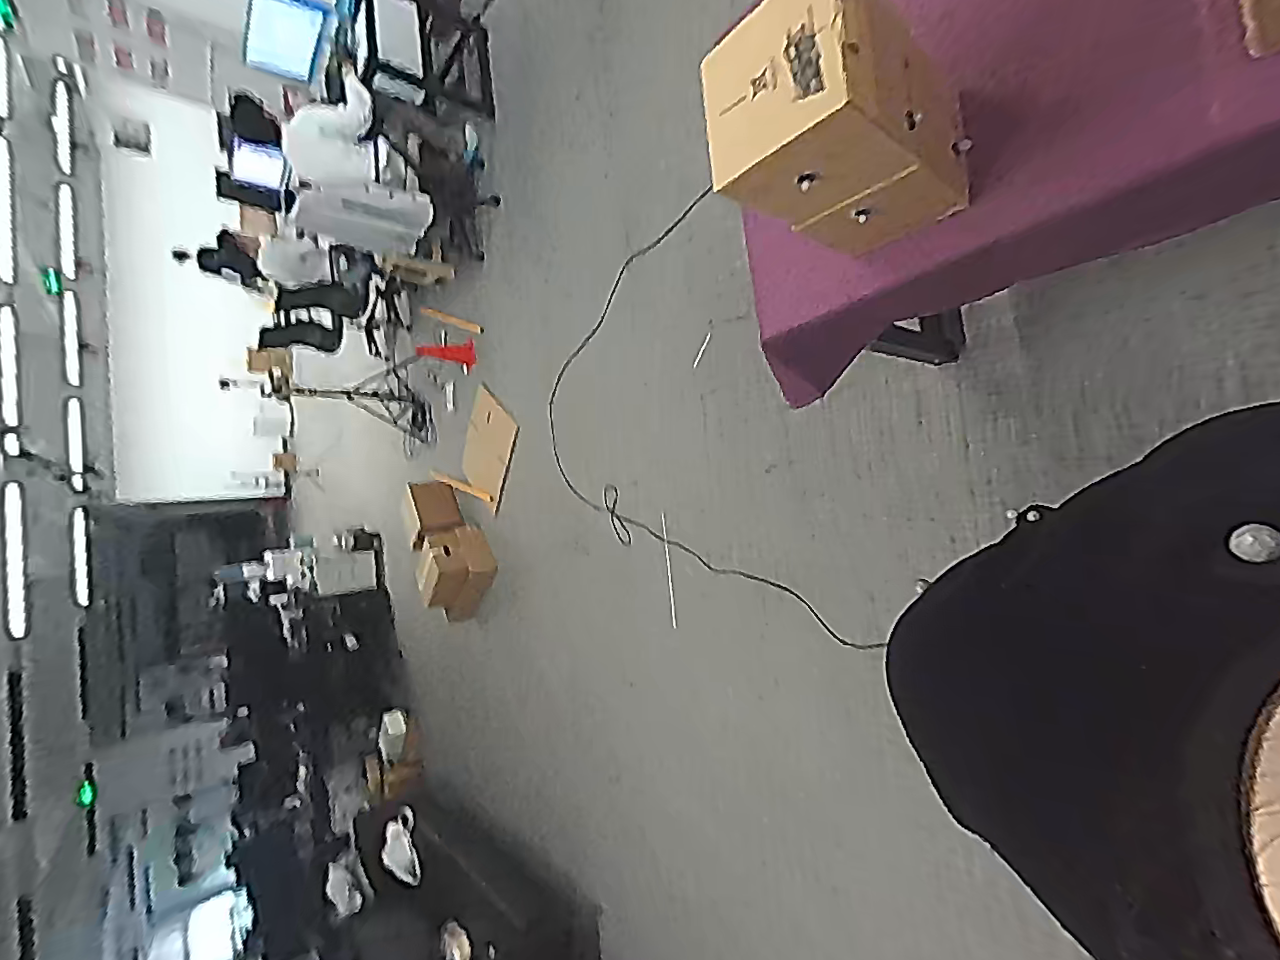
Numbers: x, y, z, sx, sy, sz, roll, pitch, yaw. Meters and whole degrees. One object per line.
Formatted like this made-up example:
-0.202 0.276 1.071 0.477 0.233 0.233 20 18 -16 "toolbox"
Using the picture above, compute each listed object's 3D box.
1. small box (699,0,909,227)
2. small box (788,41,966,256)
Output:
0.197 -0.431 0.640 0.179 0.176 0.168 -10 85 50 "small box"
0.319 -0.434 0.749 0.179 0.176 0.168 -9 86 49 "small box"
